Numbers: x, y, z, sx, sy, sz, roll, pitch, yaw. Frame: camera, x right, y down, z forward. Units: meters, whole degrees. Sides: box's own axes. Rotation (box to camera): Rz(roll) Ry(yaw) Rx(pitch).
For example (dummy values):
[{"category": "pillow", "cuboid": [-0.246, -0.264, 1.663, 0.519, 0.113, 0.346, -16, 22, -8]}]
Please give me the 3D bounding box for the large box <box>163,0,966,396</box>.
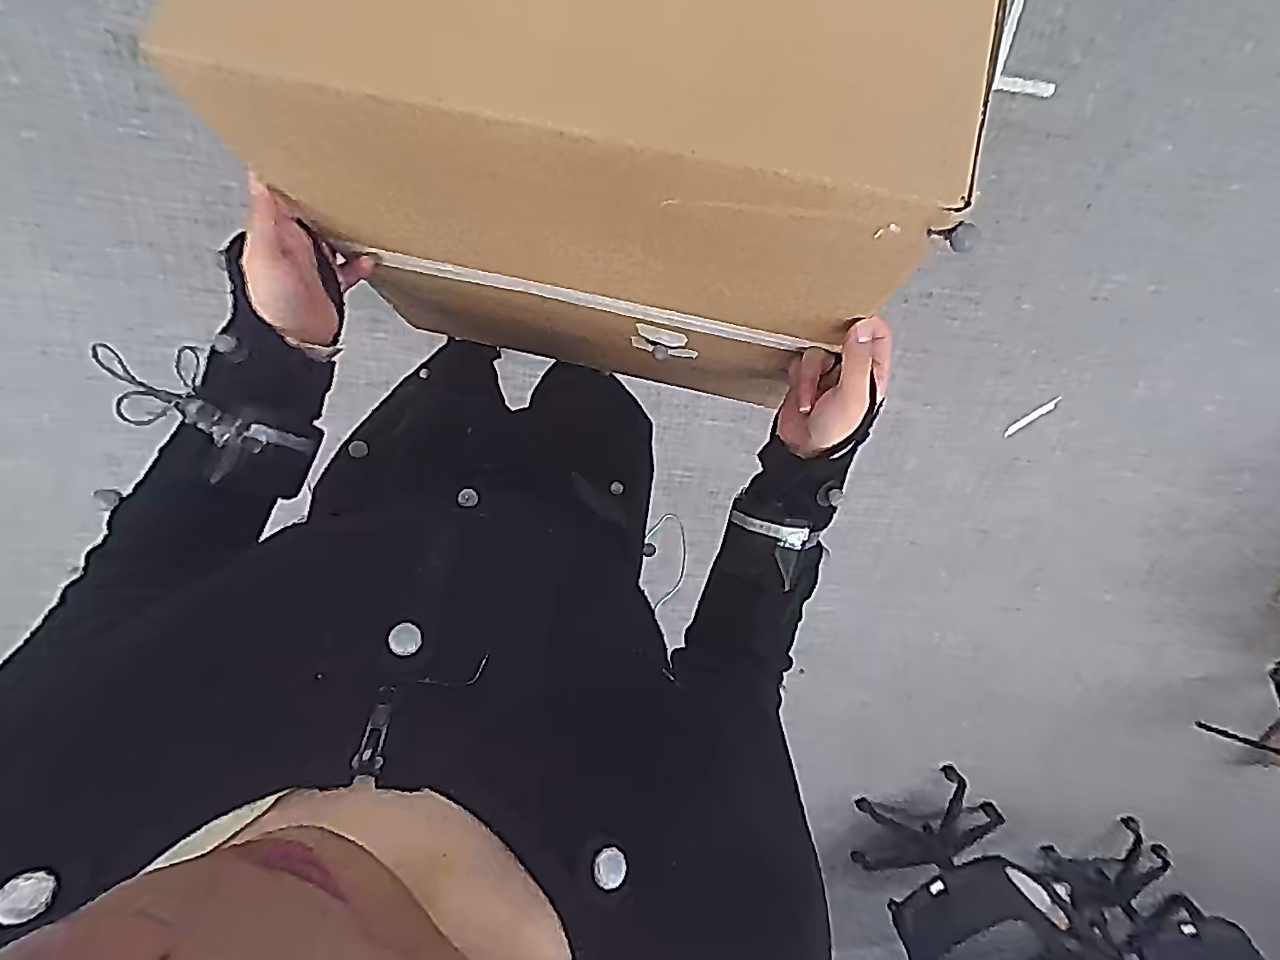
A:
[{"category": "large box", "cuboid": [-0.019, -0.295, 0.431, 0.408, 0.320, 0.320, 12, 81, 4]}]
